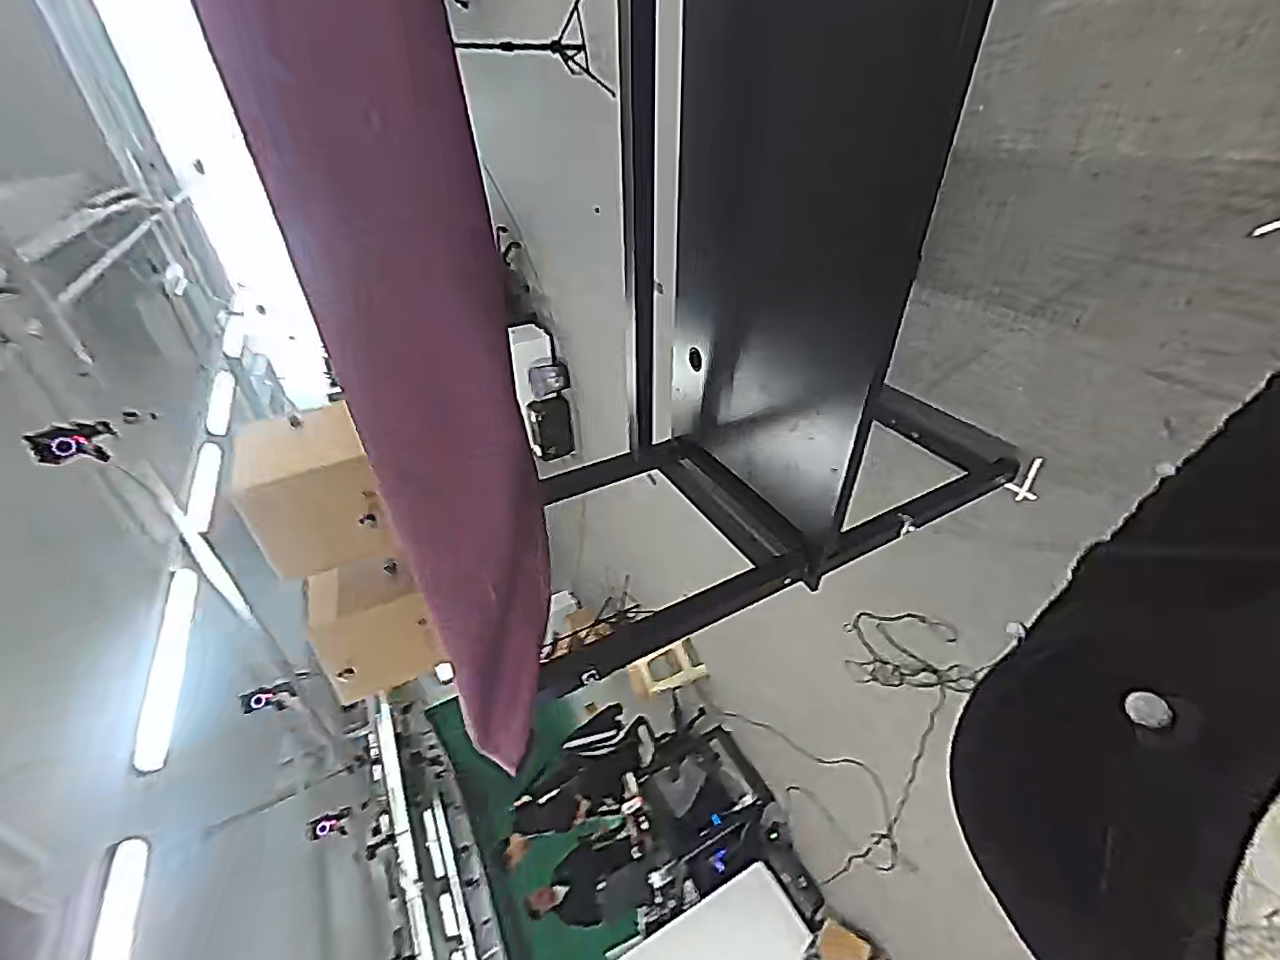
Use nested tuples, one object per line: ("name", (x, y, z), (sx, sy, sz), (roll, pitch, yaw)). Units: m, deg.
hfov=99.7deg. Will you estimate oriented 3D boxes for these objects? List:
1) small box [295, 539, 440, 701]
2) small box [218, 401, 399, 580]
("small box", (-0.439, 0.216, 0.887), (0.179, 0.176, 0.168), (42, 144, 51))
("small box", (-0.456, 0.004, 0.764), (0.179, 0.176, 0.168), (47, 149, 44))
